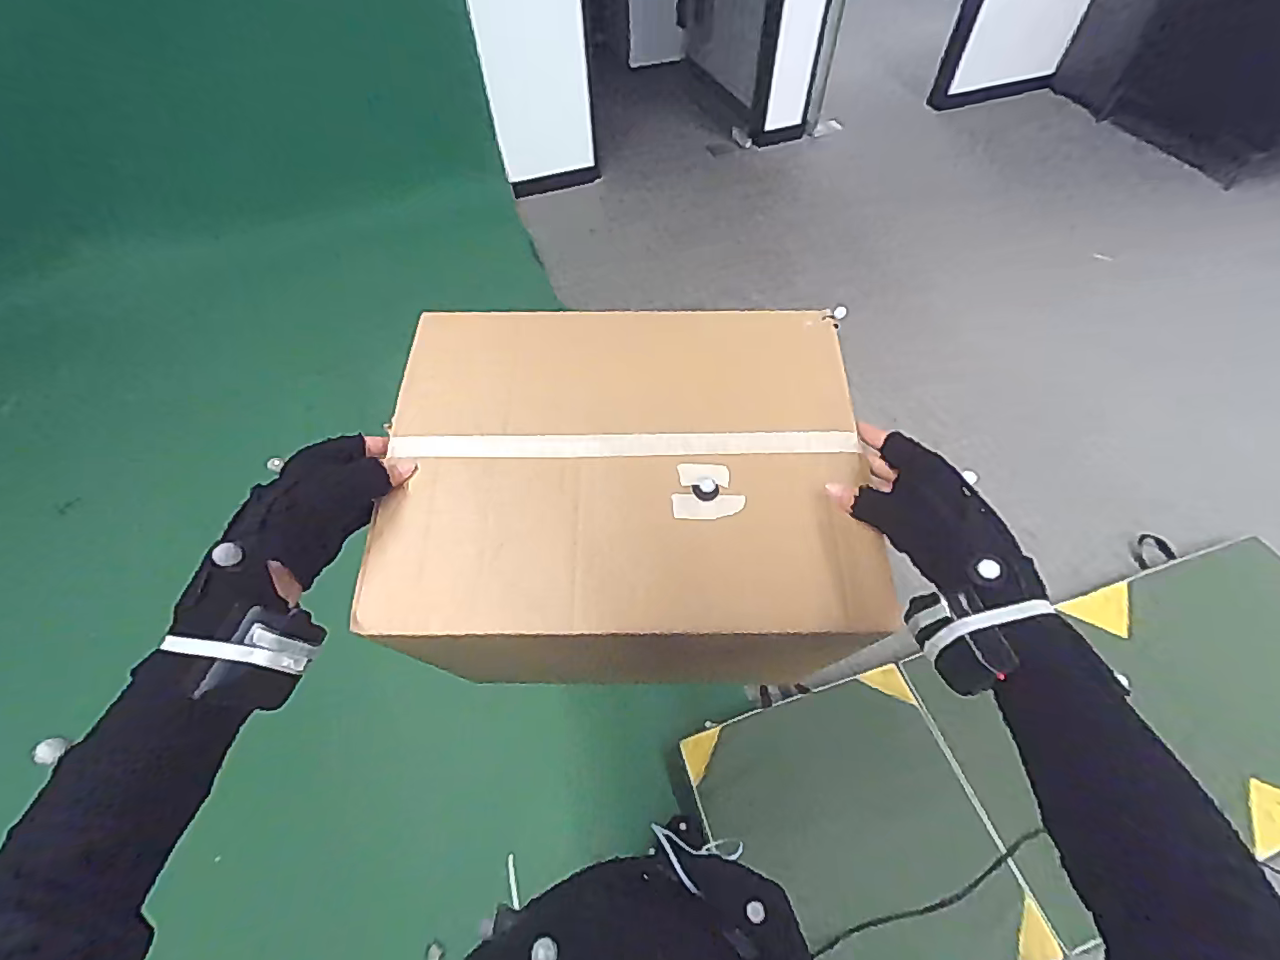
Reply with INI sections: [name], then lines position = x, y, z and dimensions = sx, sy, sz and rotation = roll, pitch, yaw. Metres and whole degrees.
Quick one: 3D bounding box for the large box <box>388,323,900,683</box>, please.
[large box]
position = -0.001, 0.045, 0.613
dimensions = 0.408, 0.320, 0.320
rotation = 0, 63, -1
